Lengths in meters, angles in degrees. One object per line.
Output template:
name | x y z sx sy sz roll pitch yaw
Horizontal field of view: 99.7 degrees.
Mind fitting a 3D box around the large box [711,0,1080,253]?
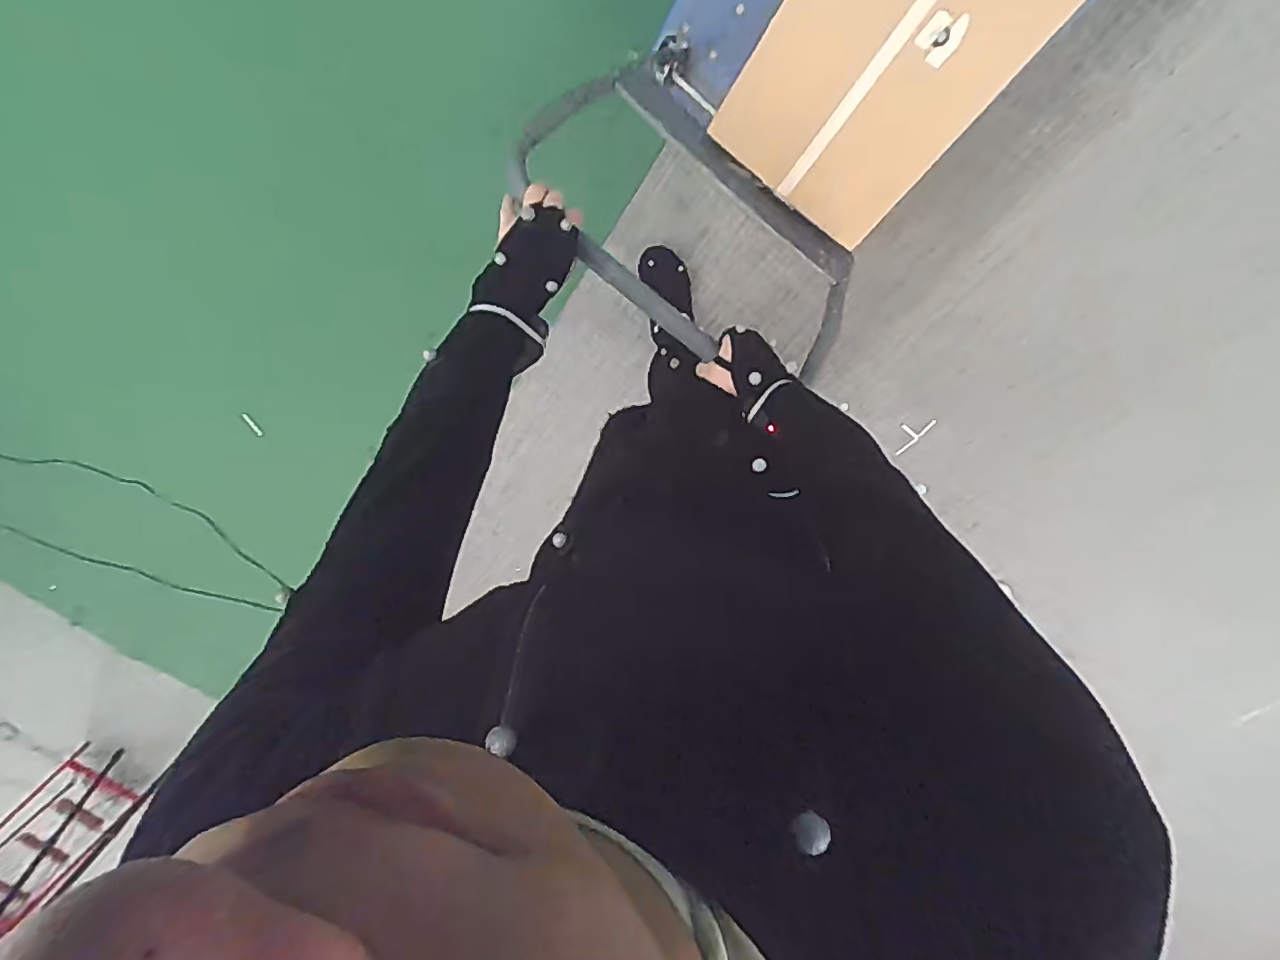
large box | 0.380 -0.674 0.892 0.320 0.320 0.408 36 133 -9
